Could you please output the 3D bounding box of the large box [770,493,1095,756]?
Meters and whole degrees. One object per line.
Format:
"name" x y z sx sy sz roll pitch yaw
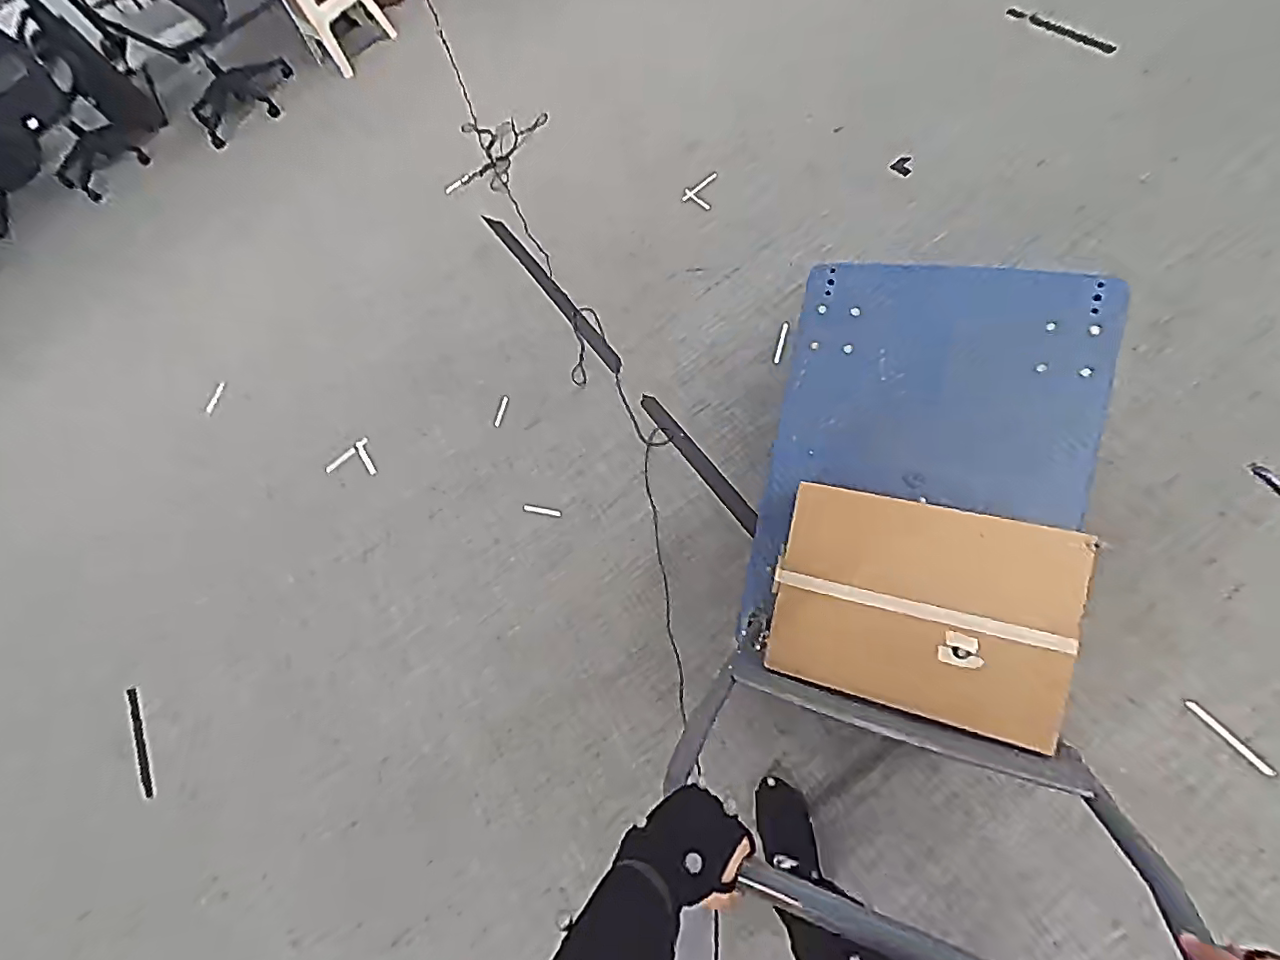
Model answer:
"large box" 0.470 0.213 0.957 0.408 0.320 0.320 12 91 20
